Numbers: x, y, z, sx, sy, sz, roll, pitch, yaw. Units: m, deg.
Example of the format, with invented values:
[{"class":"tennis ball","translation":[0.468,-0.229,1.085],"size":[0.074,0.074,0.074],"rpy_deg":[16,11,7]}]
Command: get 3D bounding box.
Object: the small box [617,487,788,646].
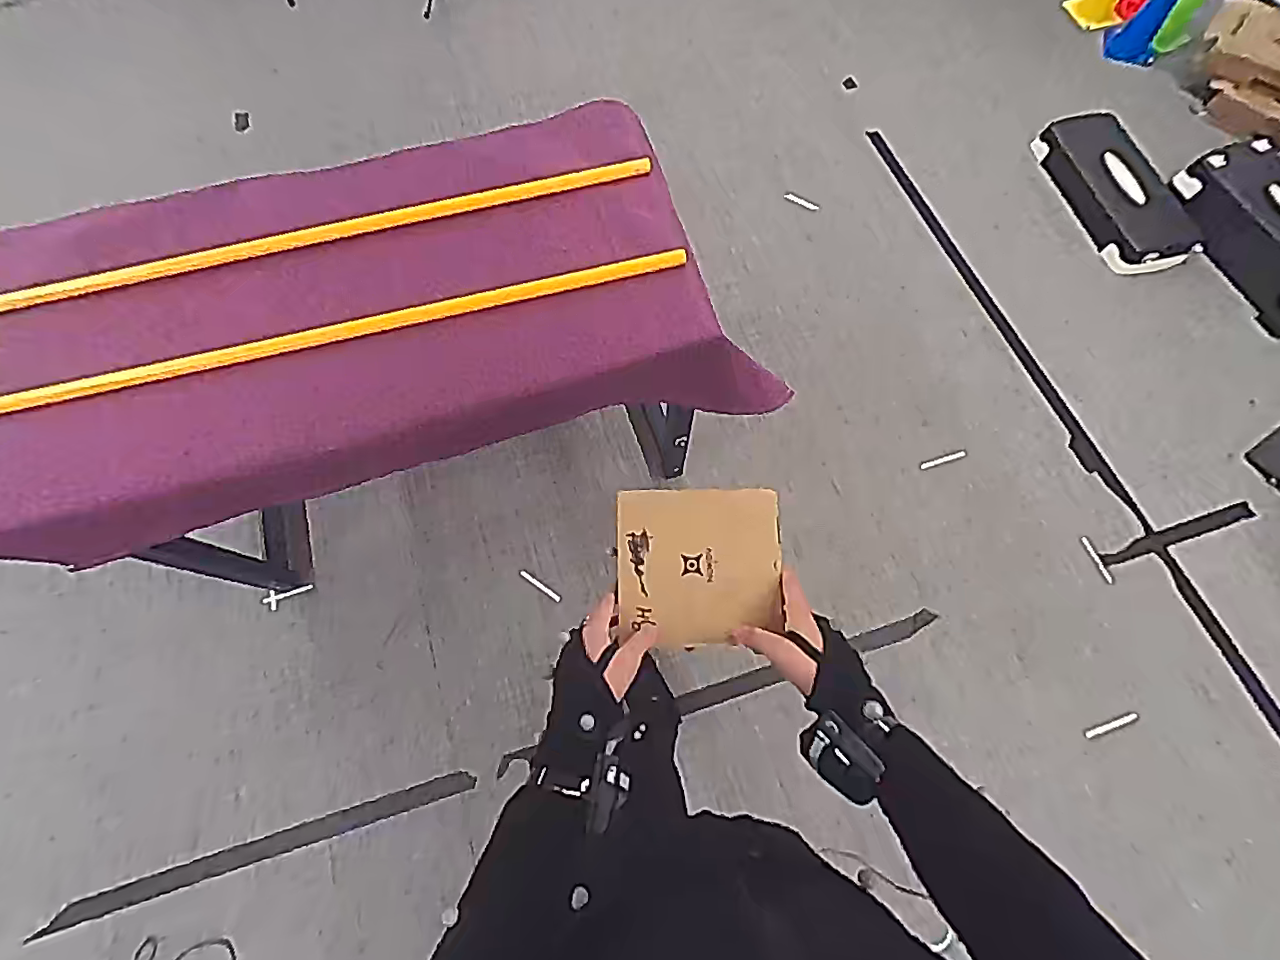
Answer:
[{"class":"small box","translation":[0.062,0.103,0.643],"size":[0.179,0.176,0.168],"rpy_deg":[0,78,-2]}]
